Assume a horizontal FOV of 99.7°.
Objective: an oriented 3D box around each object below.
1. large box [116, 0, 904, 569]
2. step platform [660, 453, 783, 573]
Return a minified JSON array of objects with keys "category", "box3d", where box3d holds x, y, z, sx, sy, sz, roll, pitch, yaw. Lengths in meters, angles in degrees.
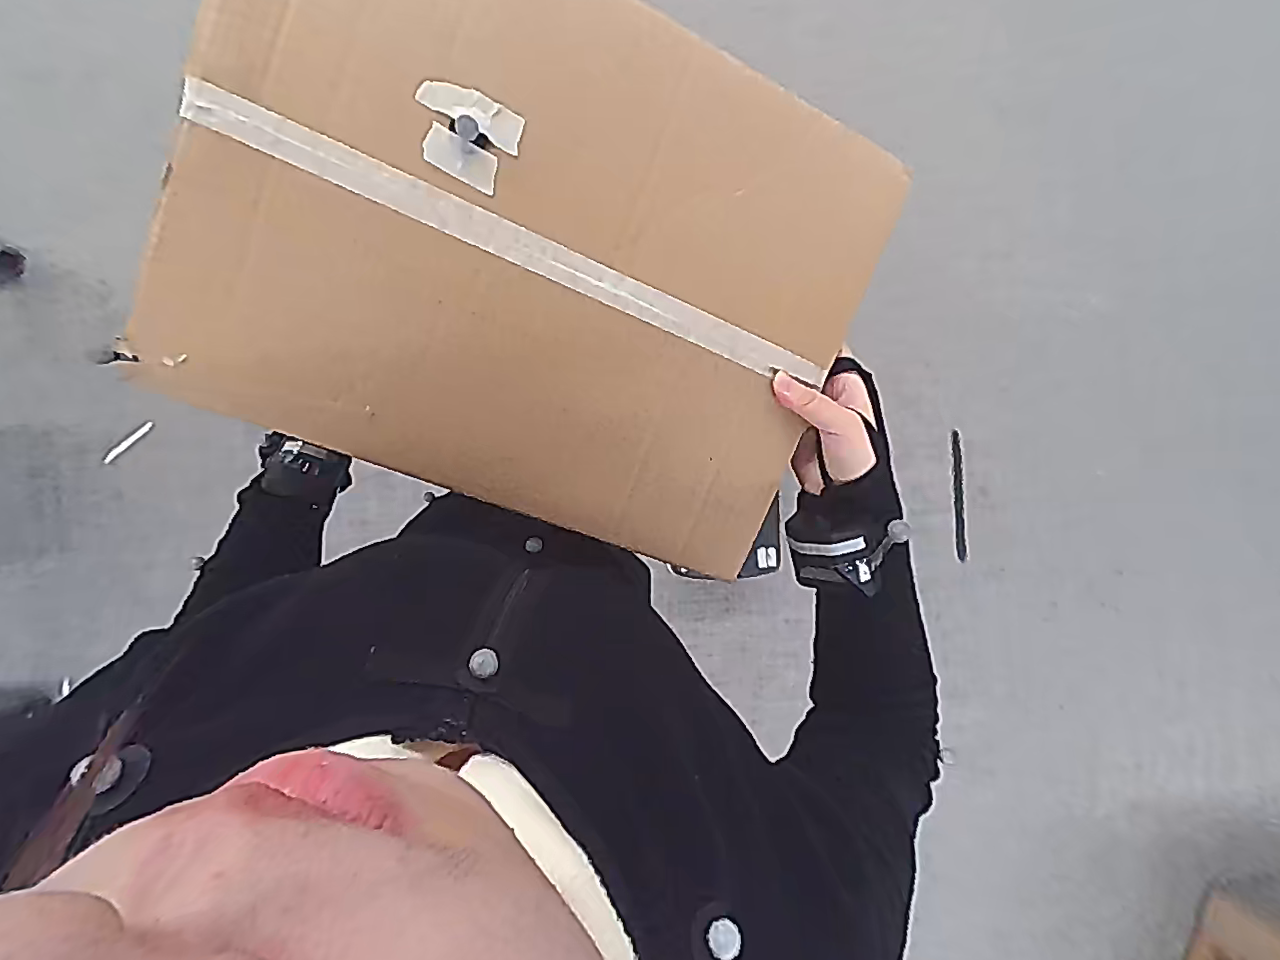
[{"category":"large box","box3d":[-0.085,-0.164,0.470,0.408,0.320,0.320,19,97,-13]},{"category":"step platform","box3d":[0.214,-0.101,1.412,0.286,0.204,0.684,4,91,-5]}]
